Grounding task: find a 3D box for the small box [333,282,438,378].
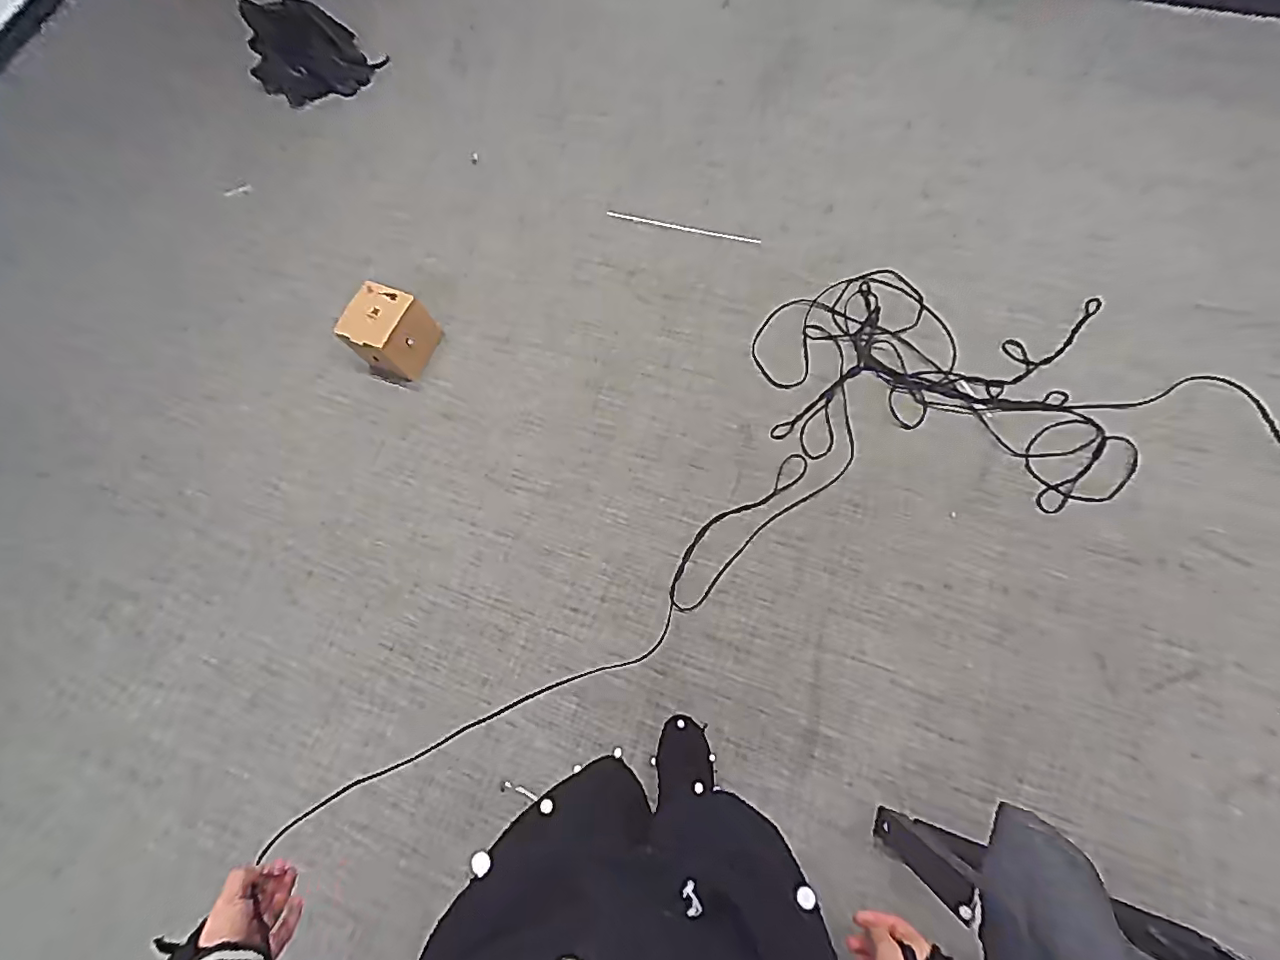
[{"bbox_3d":[-0.694,-0.409,1.499,0.168,0.176,0.179,21,76,13],"label":"small box"}]
